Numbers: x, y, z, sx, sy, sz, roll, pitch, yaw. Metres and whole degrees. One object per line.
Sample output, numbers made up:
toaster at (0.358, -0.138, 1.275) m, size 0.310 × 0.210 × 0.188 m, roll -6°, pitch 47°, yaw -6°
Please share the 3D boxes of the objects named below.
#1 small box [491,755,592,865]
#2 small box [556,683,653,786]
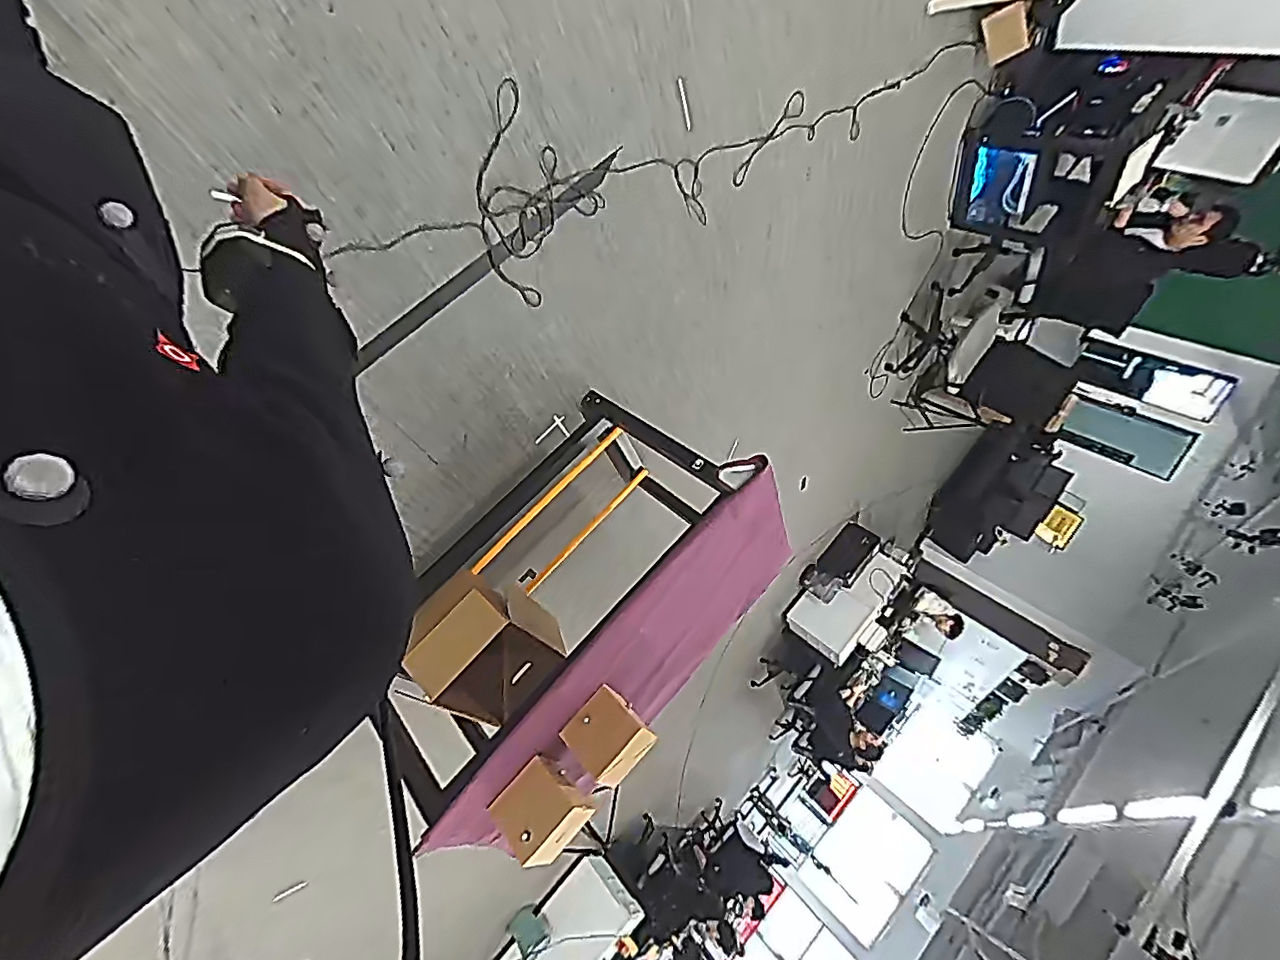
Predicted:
small box at (-0.262, 0.858, 1.407) m, size 0.179 × 0.176 × 0.168 m, roll -45°, pitch 146°, yaw -14°
small box at (-0.089, 0.696, 1.475) m, size 0.179 × 0.176 × 0.168 m, roll -45°, pitch 145°, yaw -15°
